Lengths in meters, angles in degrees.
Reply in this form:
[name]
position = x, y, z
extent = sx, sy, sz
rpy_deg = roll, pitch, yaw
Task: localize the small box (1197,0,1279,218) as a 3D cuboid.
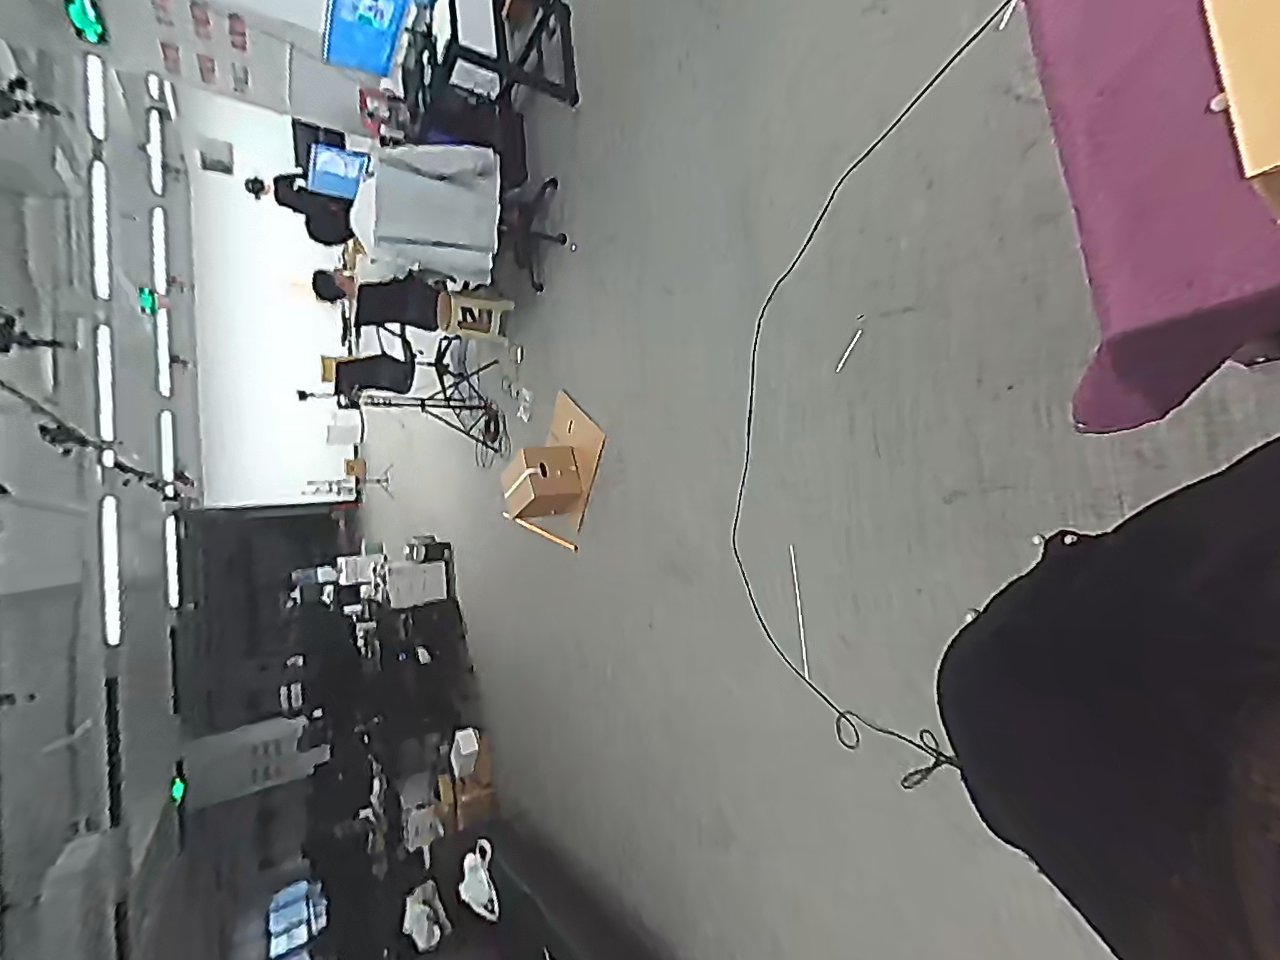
[small box]
position = 0.596, -0.340, 0.428
extent = 0.179, 0.176, 0.168
rpy_deg = -14, 80, 53
